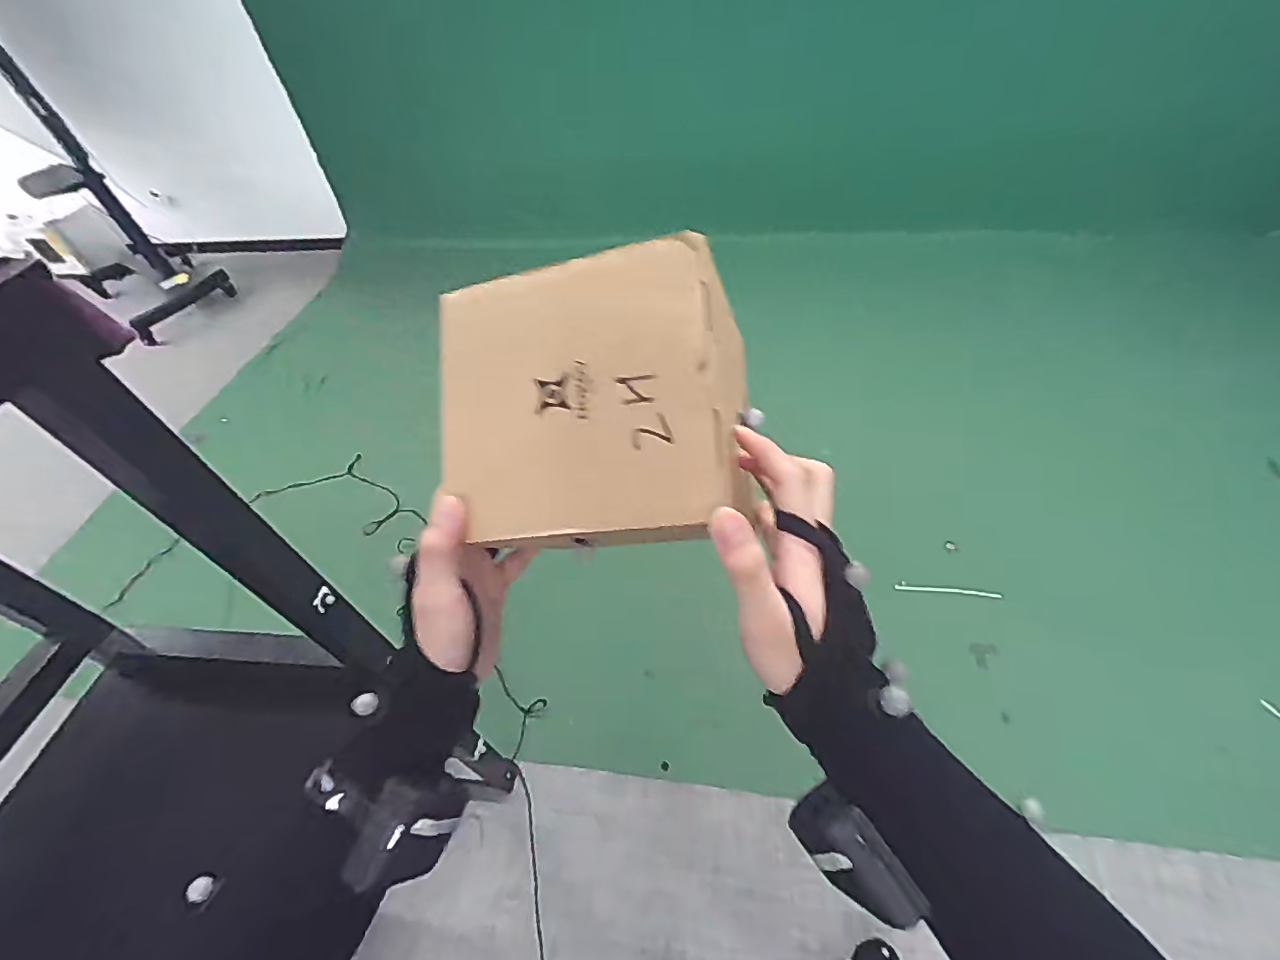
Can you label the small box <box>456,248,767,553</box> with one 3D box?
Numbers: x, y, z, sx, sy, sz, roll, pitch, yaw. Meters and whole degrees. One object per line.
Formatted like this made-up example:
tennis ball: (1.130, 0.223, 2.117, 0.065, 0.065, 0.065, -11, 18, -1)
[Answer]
small box: (-0.010, -0.034, 0.399, 0.179, 0.176, 0.168, -6, 80, 18)
